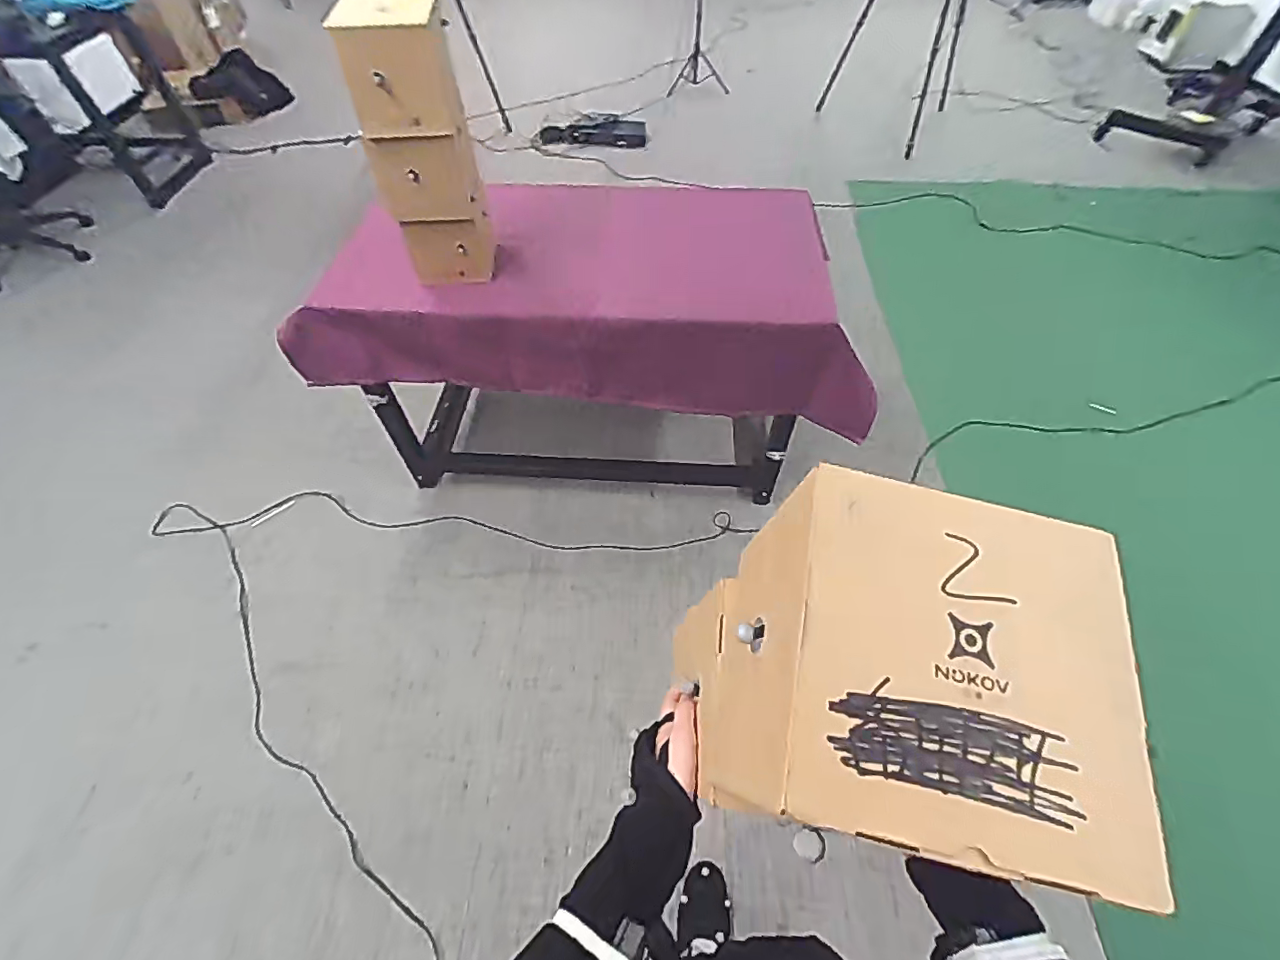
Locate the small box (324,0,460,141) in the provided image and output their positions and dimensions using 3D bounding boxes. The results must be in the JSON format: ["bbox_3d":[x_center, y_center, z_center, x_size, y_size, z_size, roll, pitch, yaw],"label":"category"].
[{"bbox_3d":[-0.436,-0.739,0.984,0.168,0.176,0.179,-6,53,-4],"label":"small box"}]

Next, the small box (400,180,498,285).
[{"bbox_3d":[-0.436,-0.575,1.268,0.168,0.176,0.179,-3,53,-2],"label":"small box"}]

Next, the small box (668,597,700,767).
[{"bbox_3d":[0.124,0.247,0.633,0.168,0.176,0.179,4,66,-1],"label":"small box"}]

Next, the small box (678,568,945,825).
[{"bbox_3d":[0.131,0.188,0.479,0.179,0.176,0.168,7,66,0],"label":"small box"}]

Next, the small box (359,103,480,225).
[{"bbox_3d":[-0.442,-0.652,1.121,0.179,0.176,0.168,-4,54,-1],"label":"small box"}]
